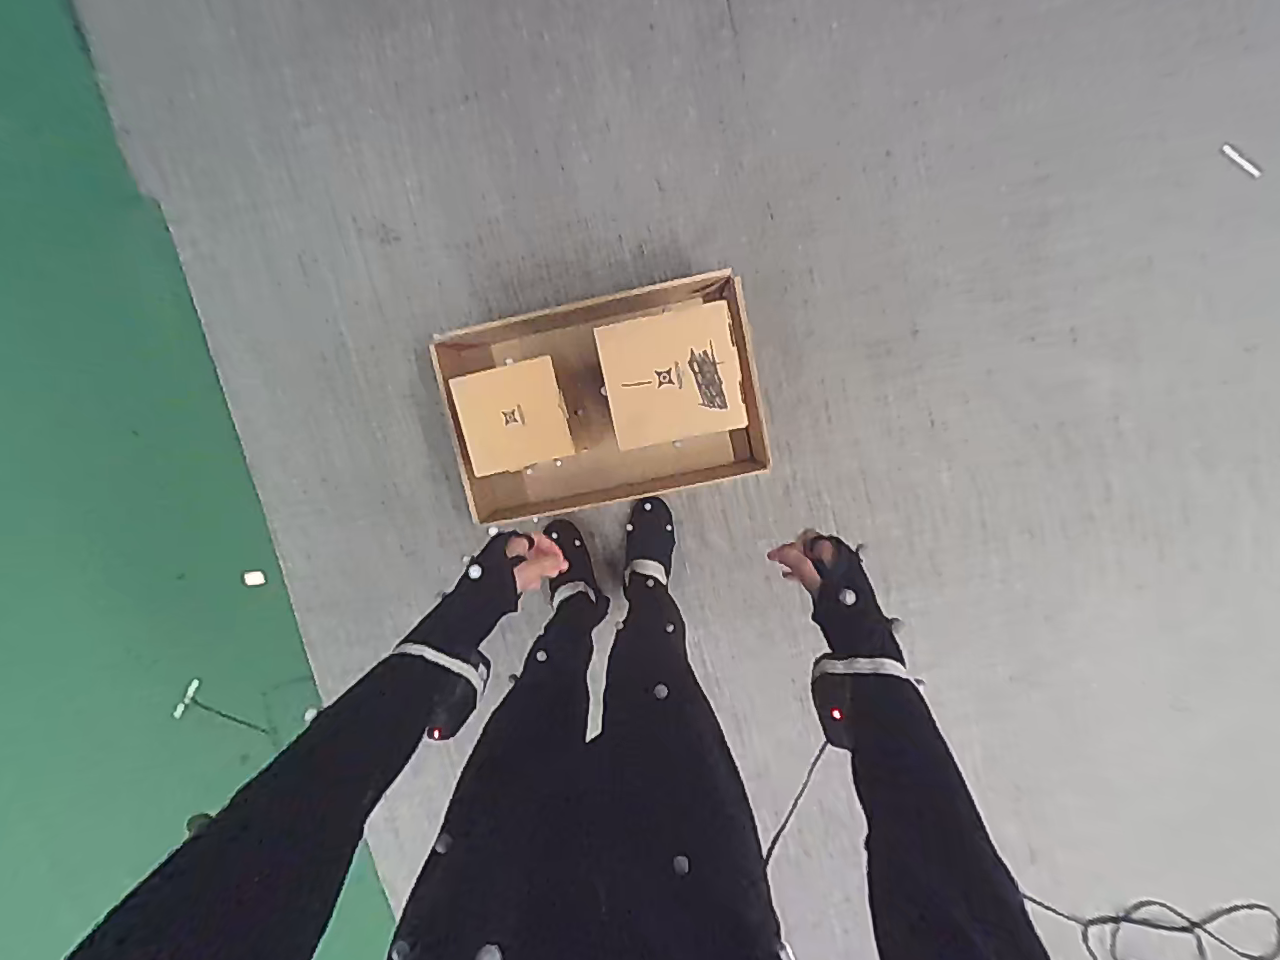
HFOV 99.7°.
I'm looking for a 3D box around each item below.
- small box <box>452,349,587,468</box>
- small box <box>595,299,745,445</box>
[{"bbox_3d":[-0.204,-0.124,0.965,0.179,0.176,0.168,-14,97,3],"label":"small box"},{"bbox_3d":[0.043,-0.152,0.785,0.179,0.176,0.168,-10,97,5],"label":"small box"}]
